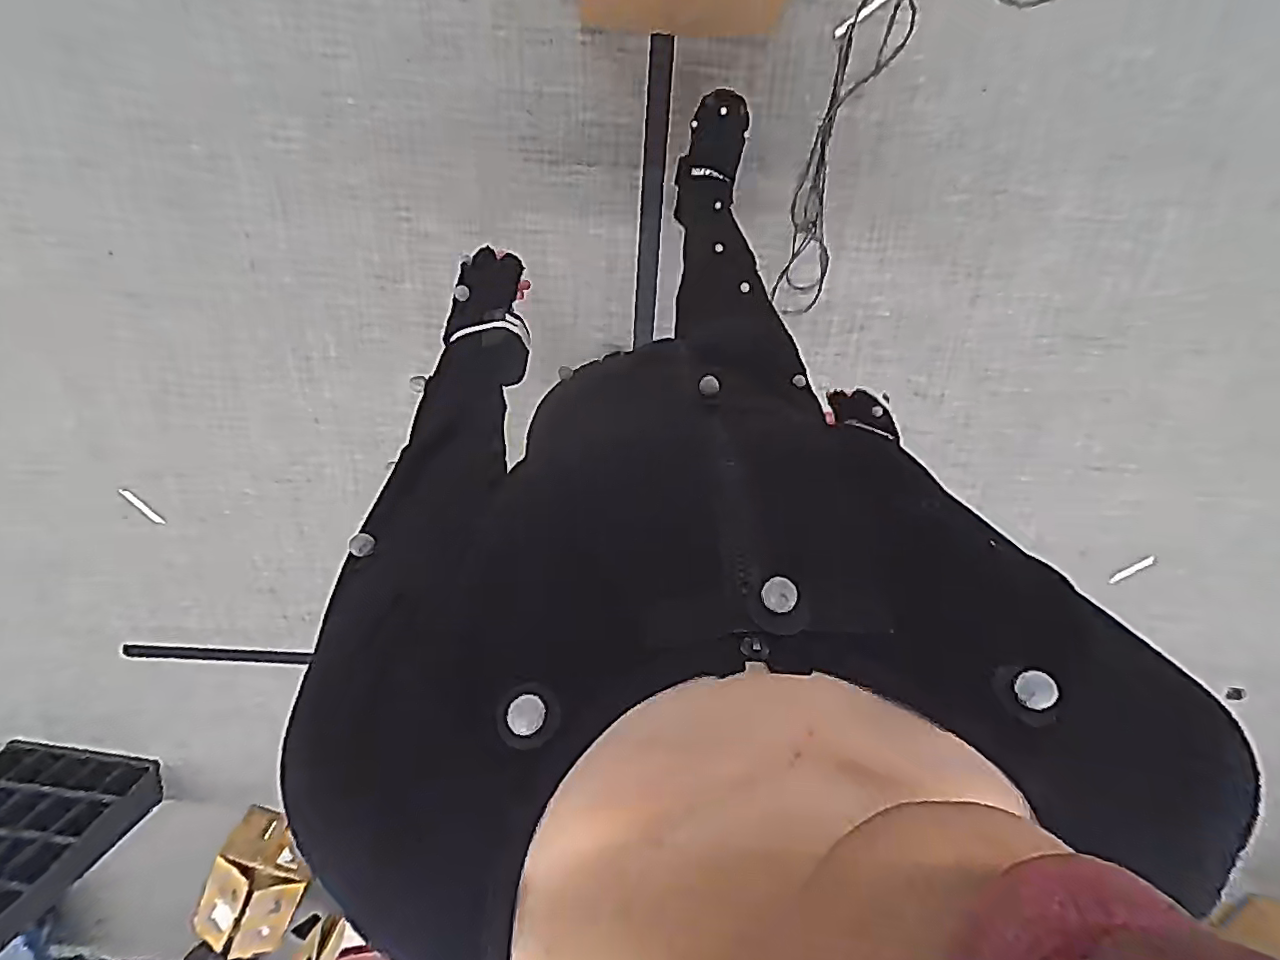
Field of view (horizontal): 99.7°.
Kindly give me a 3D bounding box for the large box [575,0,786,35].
[{"bbox_3d":[0.078,-1.028,0.940,0.408,0.320,0.320,3,112,-2],"label":"large box"}]
